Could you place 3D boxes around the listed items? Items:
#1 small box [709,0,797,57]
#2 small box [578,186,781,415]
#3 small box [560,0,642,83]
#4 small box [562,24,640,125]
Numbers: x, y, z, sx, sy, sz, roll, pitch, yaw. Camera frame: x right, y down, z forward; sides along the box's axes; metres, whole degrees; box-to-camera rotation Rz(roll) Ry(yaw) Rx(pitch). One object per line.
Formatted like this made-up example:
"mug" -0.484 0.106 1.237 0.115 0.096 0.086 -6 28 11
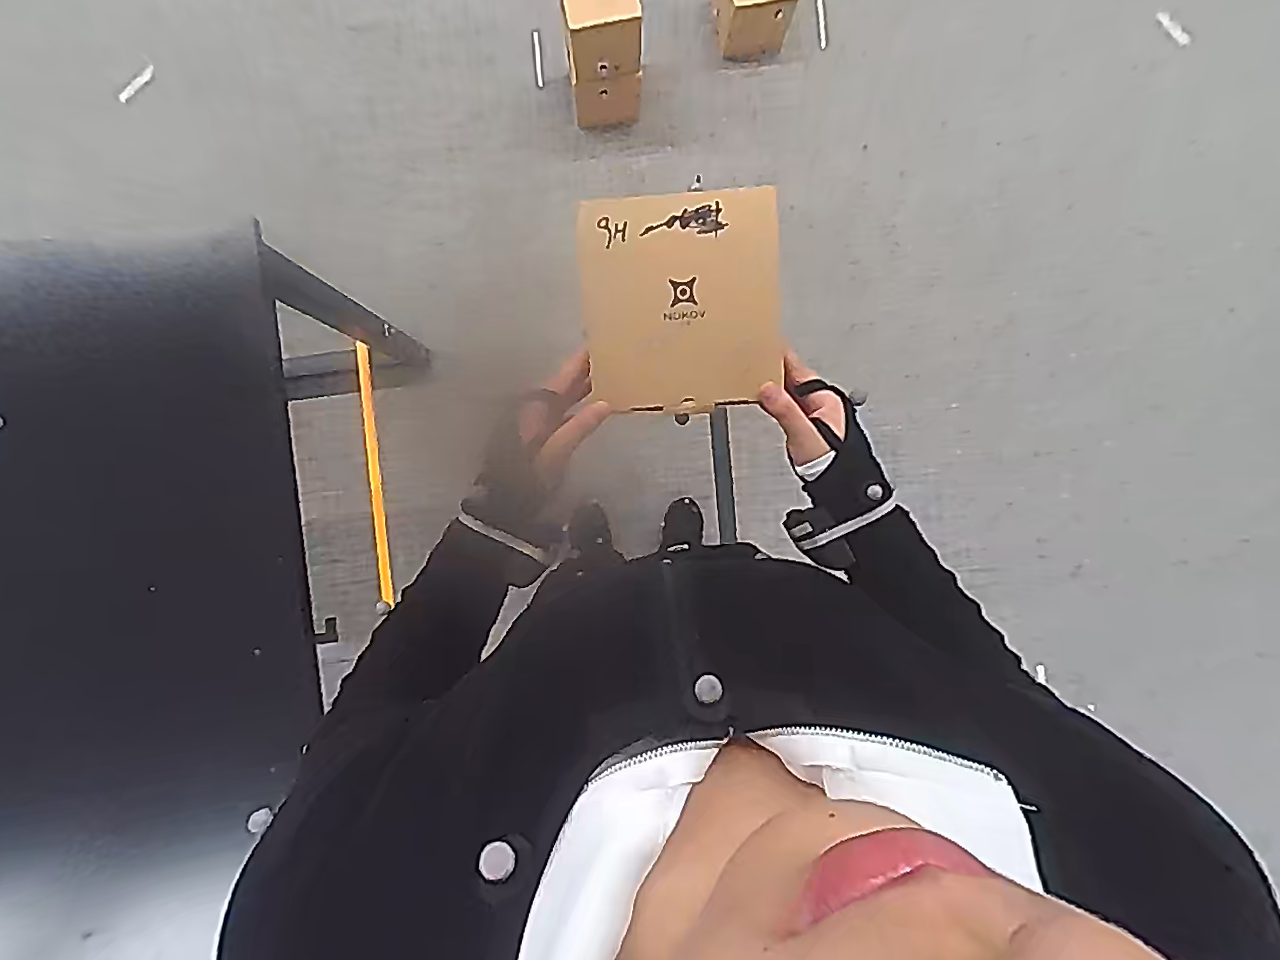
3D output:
"small box" 0.294 -1.272 1.428 0.179 0.176 0.168 -12 90 -2
"small box" 0.038 -0.161 0.533 0.168 0.176 0.179 -4 99 2
"small box" -0.094 -1.077 1.253 0.168 0.176 0.179 -13 92 0
"small box" -0.097 -1.066 1.415 0.179 0.176 0.168 -9 91 -2
